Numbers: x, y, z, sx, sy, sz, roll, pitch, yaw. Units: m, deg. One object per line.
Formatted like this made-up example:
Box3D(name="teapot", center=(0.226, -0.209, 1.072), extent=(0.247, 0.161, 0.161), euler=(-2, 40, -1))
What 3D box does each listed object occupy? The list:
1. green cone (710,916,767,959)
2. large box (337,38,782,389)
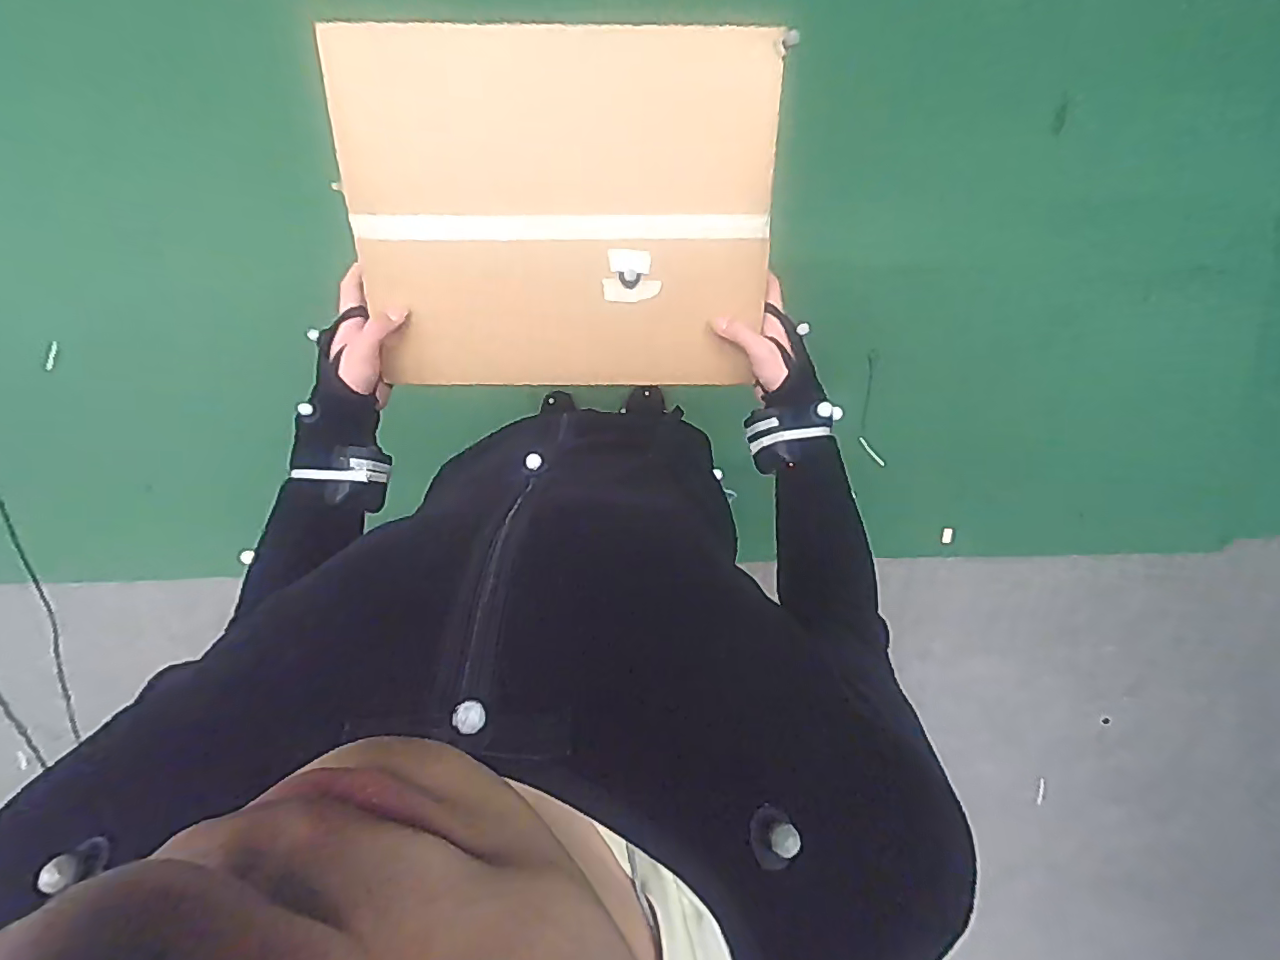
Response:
Box3D(name="green cone", center=(0.369, 1.732, 1.831), extent=(0.200, 0.368, 0.202), euler=(4, 100, -3))
Box3D(name="large box", center=(-0.074, -0.304, 0.672), extent=(0.408, 0.320, 0.320), euler=(-1, 114, -1))
